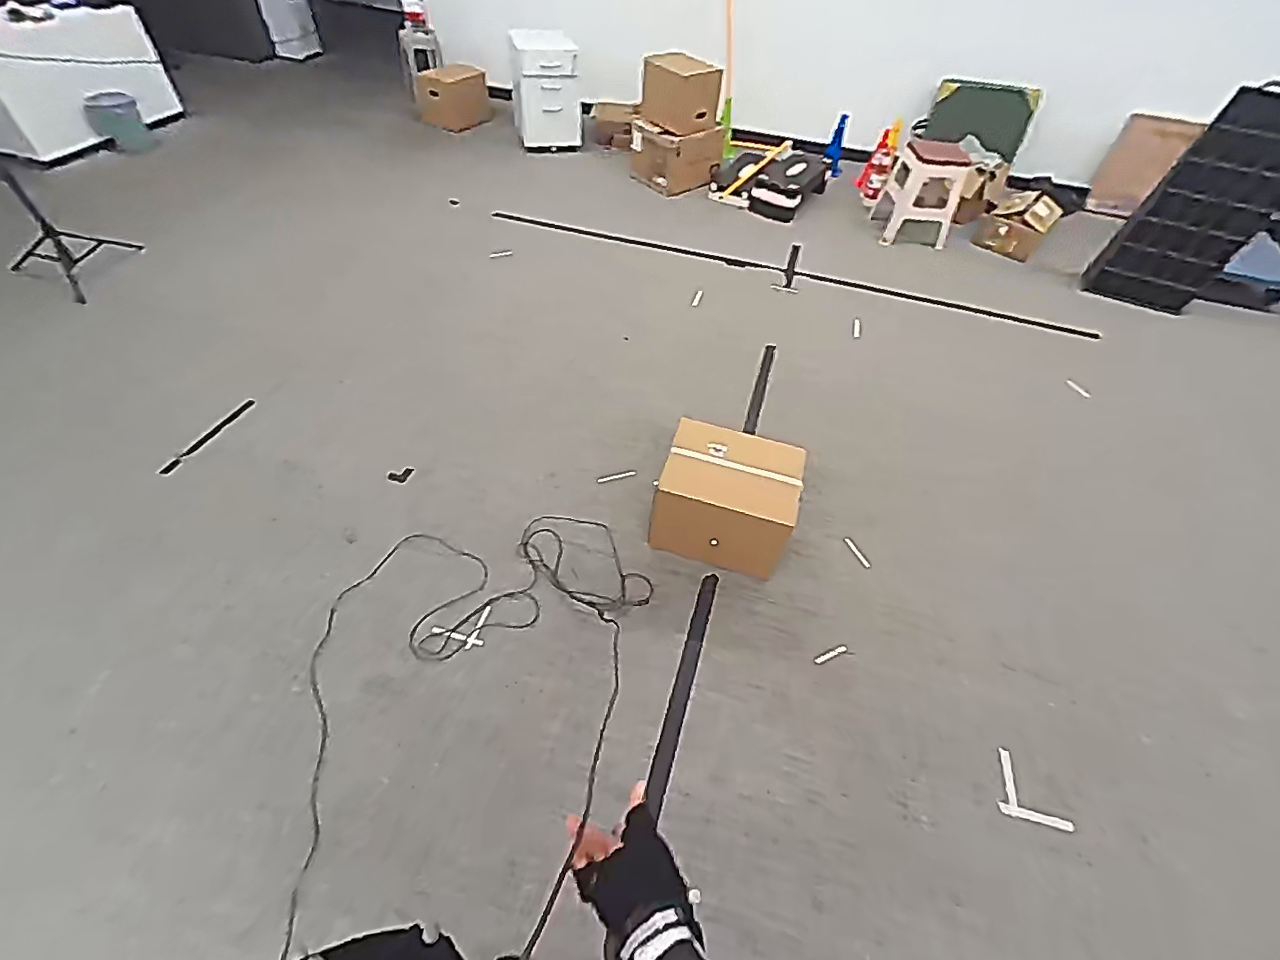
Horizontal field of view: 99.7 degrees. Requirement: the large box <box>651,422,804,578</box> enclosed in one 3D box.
[{"bbox_3d":[0.275,0.067,1.733,0.408,0.320,0.320,16,51,9],"label":"large box"}]
